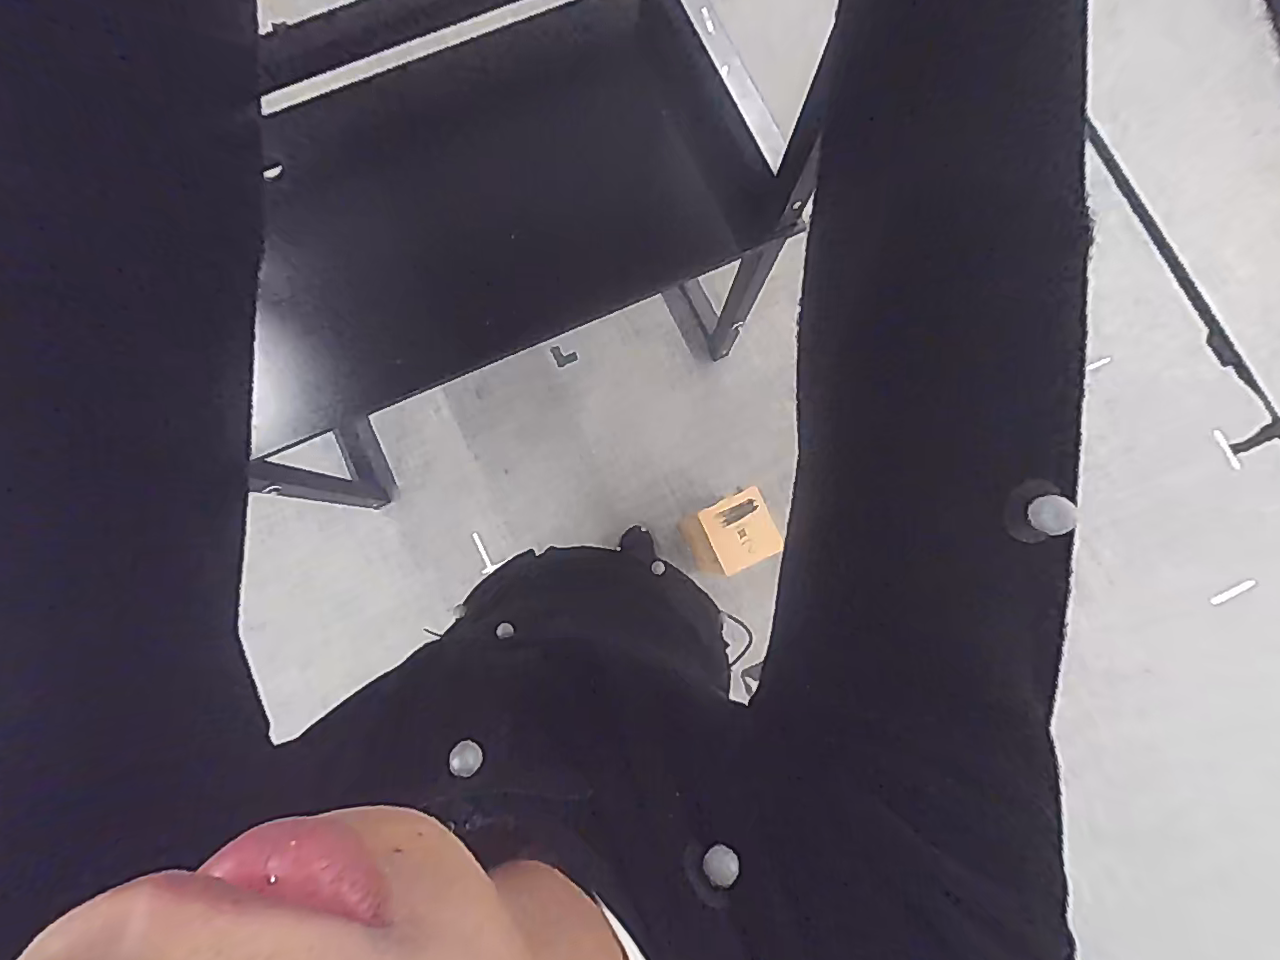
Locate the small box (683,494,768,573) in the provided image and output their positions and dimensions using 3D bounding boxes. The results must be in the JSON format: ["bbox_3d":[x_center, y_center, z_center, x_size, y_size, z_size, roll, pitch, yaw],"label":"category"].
[{"bbox_3d":[0.238,0.154,1.563,0.179,0.176,0.168,-26,84,-3],"label":"small box"}]
